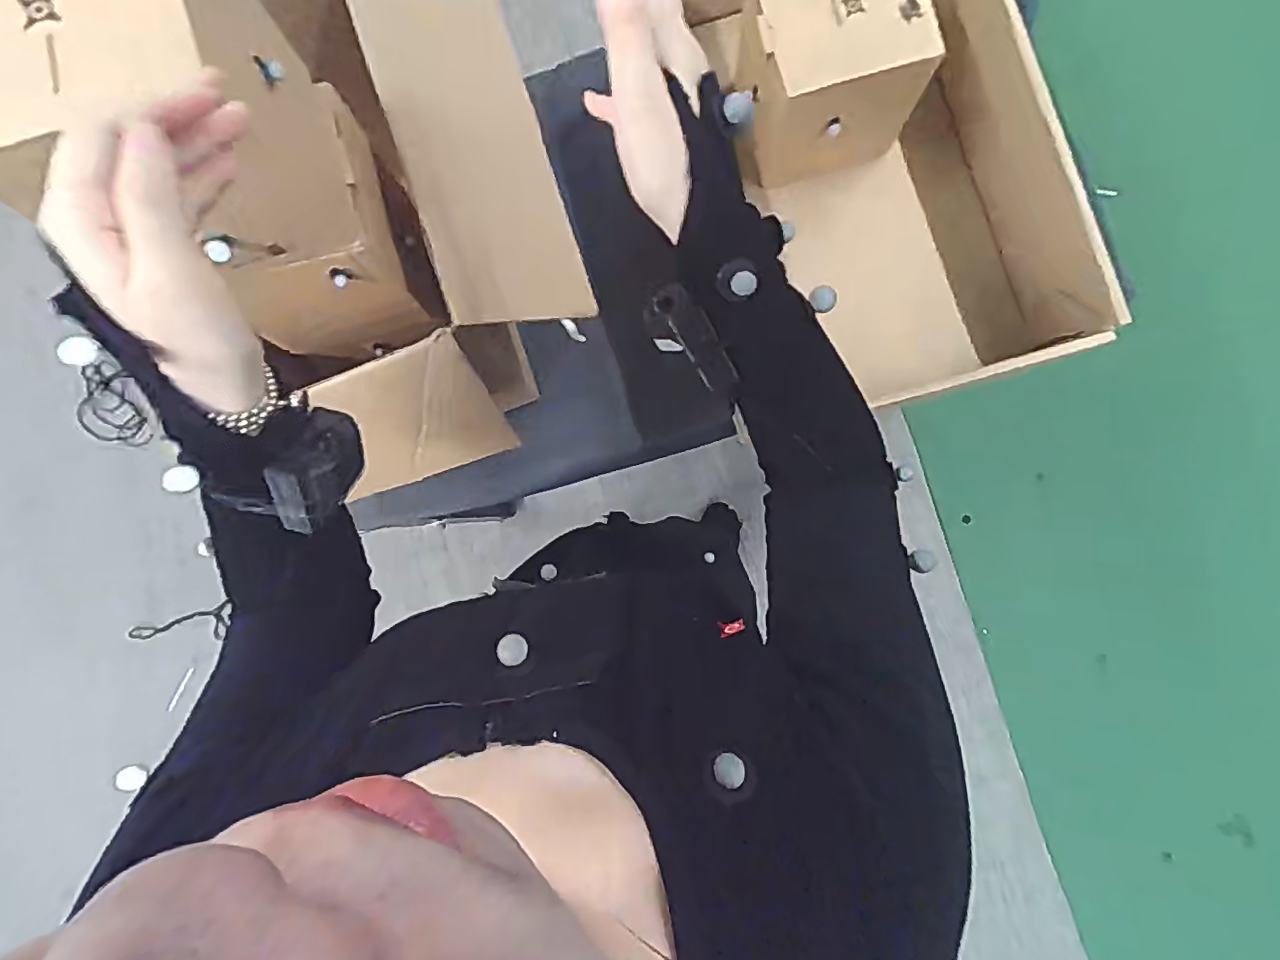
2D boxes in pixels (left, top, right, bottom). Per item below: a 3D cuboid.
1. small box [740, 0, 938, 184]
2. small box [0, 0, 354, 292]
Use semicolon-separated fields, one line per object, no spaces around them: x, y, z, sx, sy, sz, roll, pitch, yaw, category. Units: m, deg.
0.226;-0.504;0.668;0.179;0.176;0.168;-14;87;5;small box
-0.349;-0.273;0.401;0.168;0.176;0.179;-18;85;-2;small box
